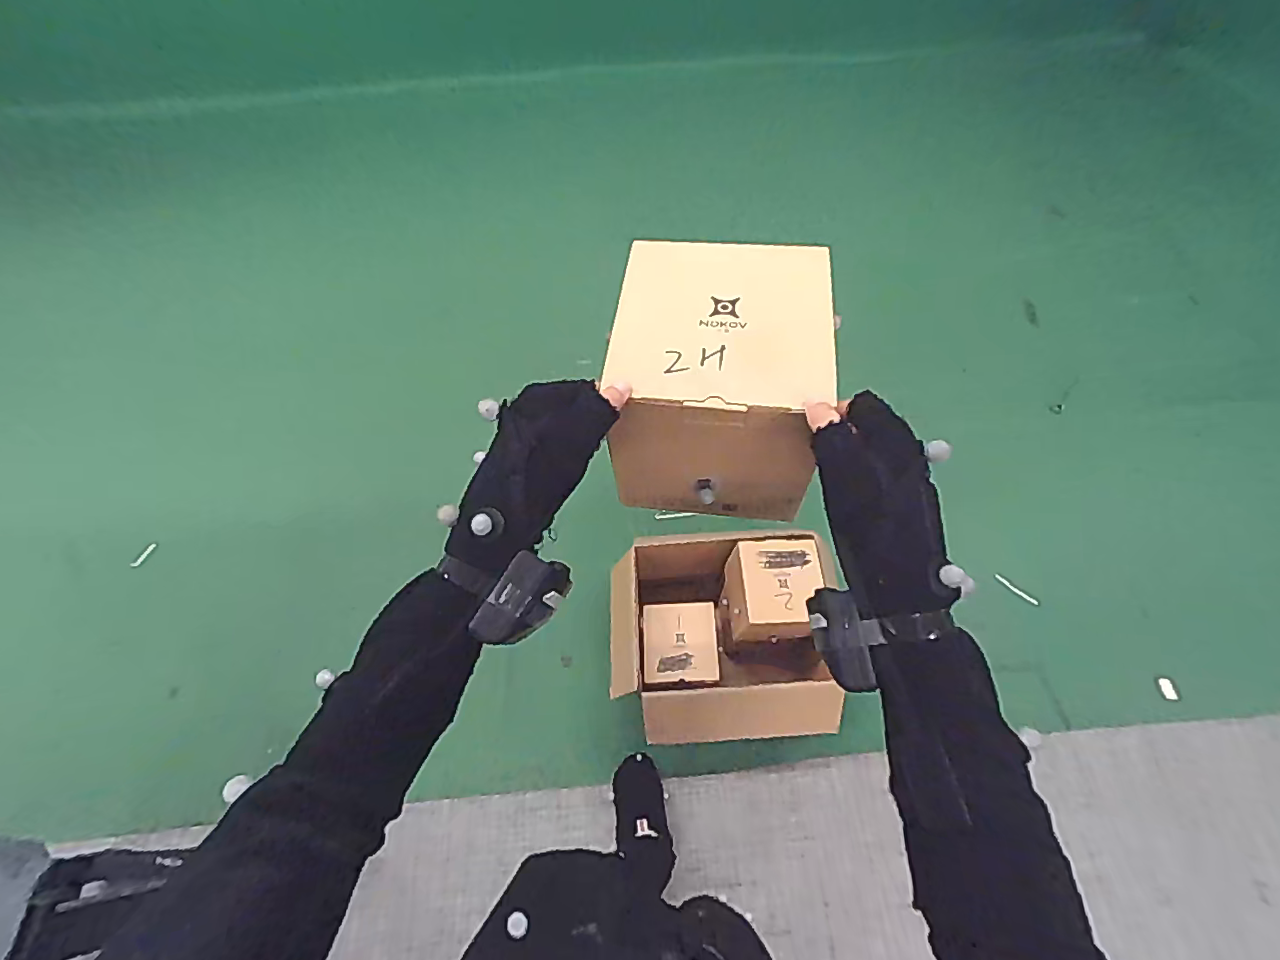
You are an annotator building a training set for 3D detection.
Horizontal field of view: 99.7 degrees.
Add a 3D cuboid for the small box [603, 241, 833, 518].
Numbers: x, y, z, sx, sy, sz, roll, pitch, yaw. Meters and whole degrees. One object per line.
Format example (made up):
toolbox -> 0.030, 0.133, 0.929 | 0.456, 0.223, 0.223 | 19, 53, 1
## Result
small box -> 0.070, -0.086, 0.490 | 0.168, 0.176, 0.179 | 5, 60, 8
